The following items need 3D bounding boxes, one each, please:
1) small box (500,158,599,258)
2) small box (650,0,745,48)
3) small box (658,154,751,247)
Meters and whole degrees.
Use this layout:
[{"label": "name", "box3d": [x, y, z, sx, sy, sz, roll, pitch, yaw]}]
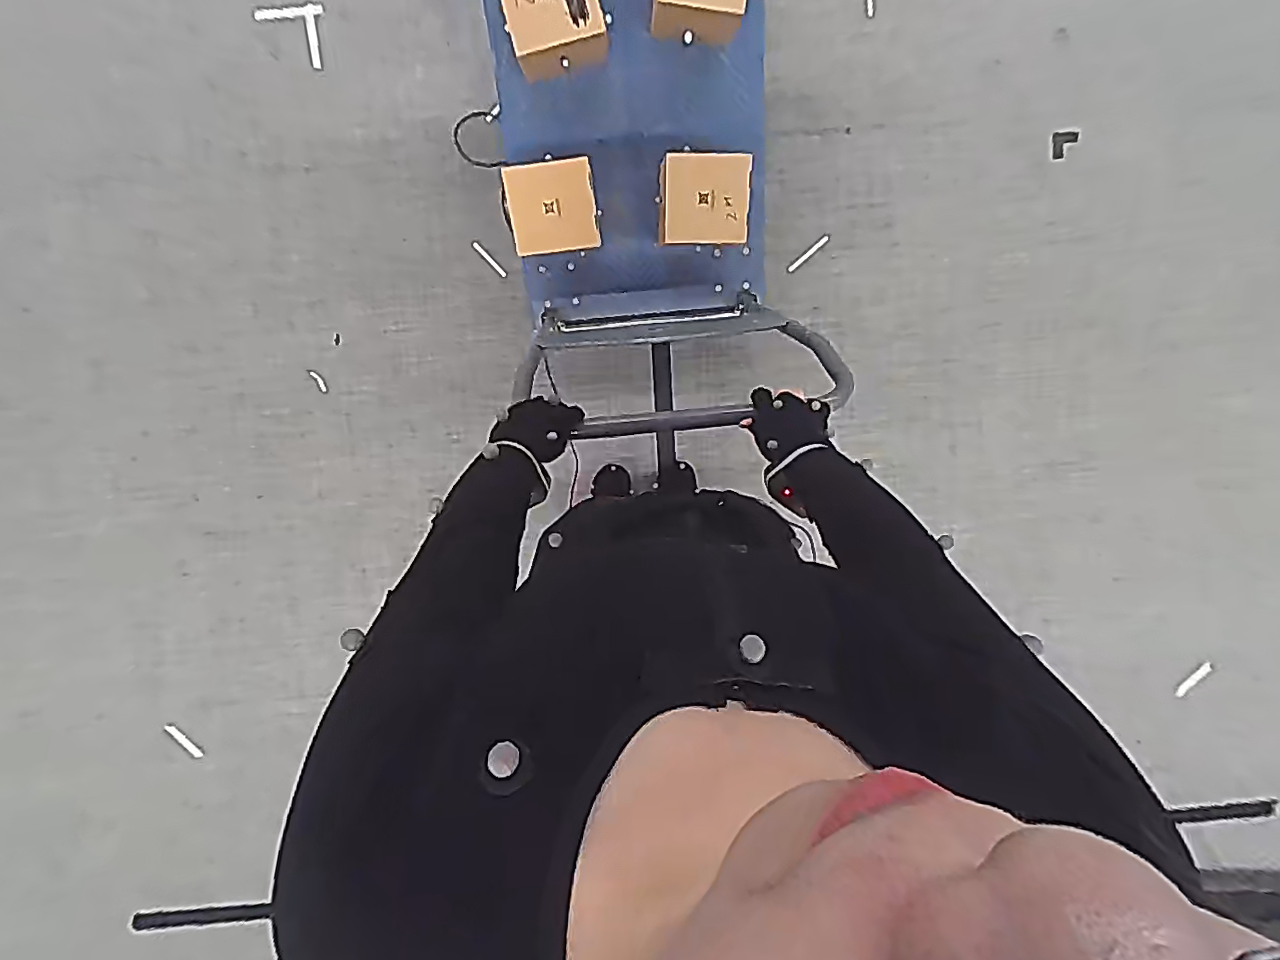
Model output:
[{"label": "small box", "box3d": [-0.186, -0.577, 1.166, 0.179, 0.176, 0.168, -9, 112, -2]}, {"label": "small box", "box3d": [0.112, -0.967, 1.026, 0.168, 0.176, 0.179, 5, 113, -5]}, {"label": "small box", "box3d": [0.130, -0.599, 1.175, 0.179, 0.176, 0.168, -1, 113, -3]}]
